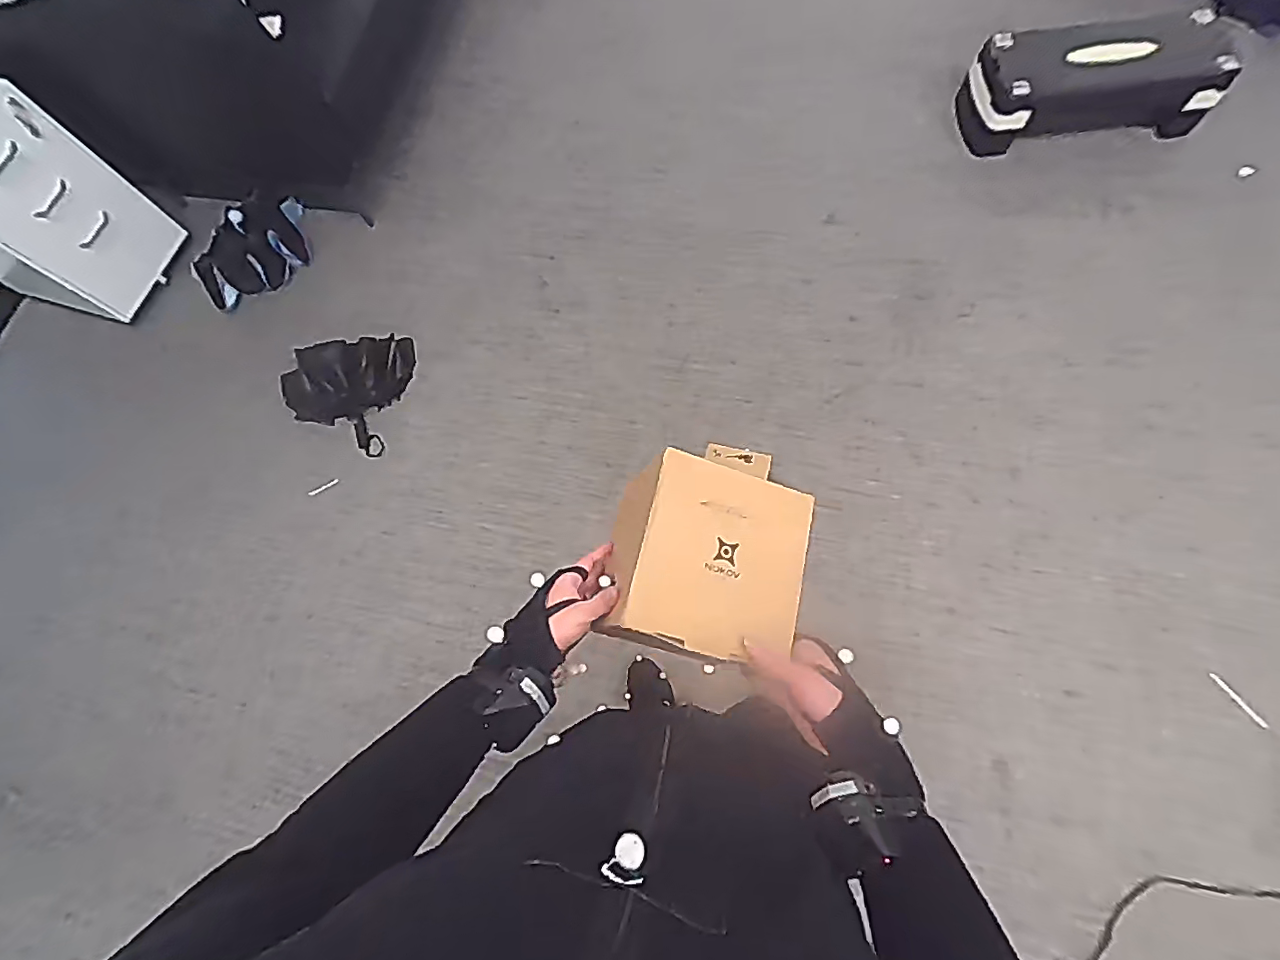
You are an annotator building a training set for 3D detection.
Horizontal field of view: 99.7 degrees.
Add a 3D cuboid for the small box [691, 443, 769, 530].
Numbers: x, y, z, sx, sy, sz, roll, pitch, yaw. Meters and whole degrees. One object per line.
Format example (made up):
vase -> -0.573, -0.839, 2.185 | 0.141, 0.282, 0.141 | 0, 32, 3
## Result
small box -> 0.239, 0.024, 1.439 | 0.168, 0.176, 0.179 | 12, 74, 11
